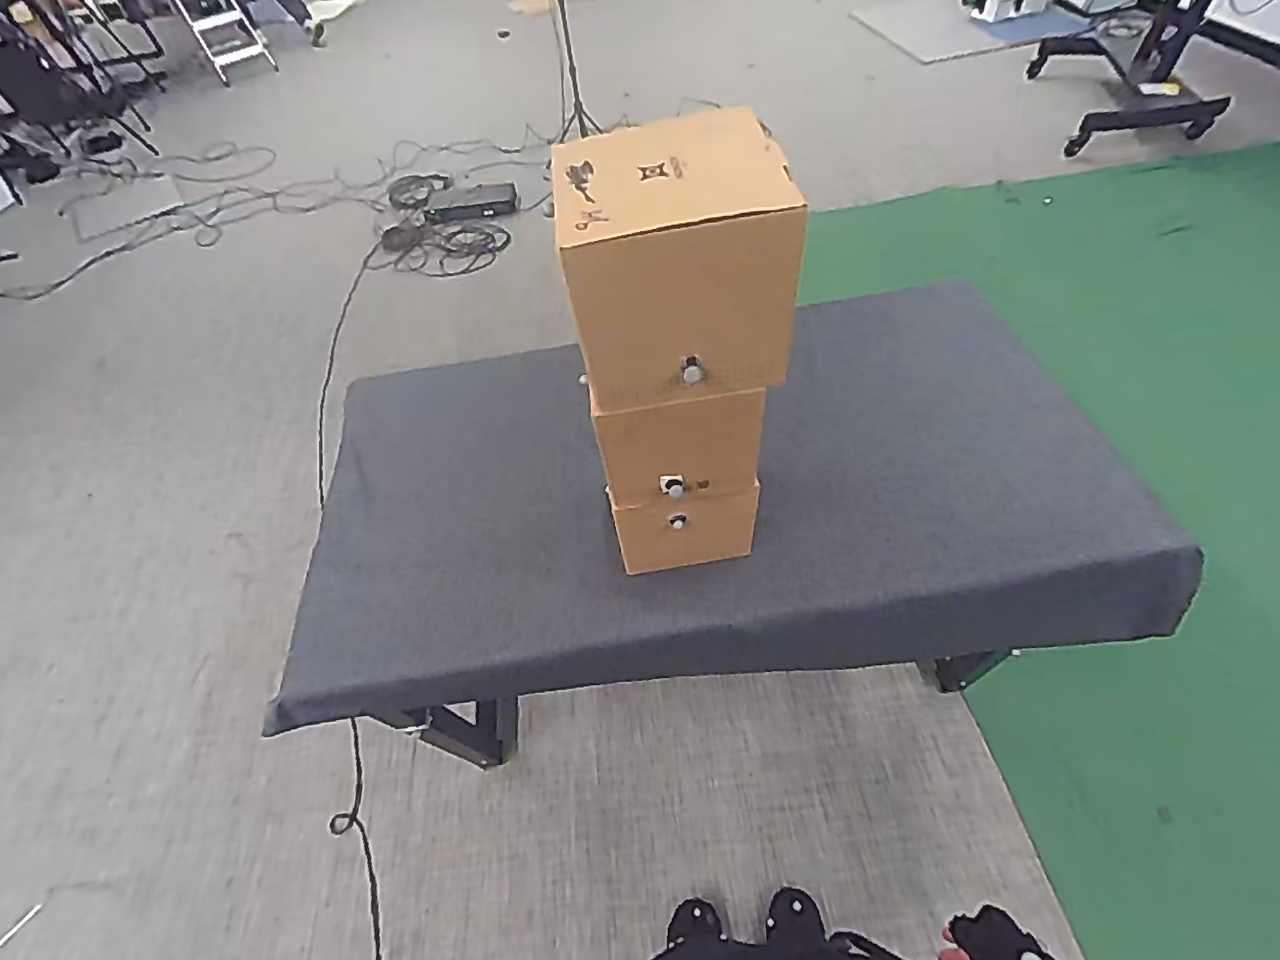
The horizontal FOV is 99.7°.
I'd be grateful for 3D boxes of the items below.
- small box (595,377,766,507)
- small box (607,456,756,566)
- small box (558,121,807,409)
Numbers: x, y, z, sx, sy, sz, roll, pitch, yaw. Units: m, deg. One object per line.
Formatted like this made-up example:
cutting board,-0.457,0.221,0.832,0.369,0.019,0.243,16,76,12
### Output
small box,0.038,-0.094,0.622,0.168,0.176,0.179,-9,55,1
small box,0.051,0.004,0.750,0.179,0.176,0.168,-9,54,-1
small box,0.030,-0.186,0.487,0.179,0.176,0.168,-9,53,1
